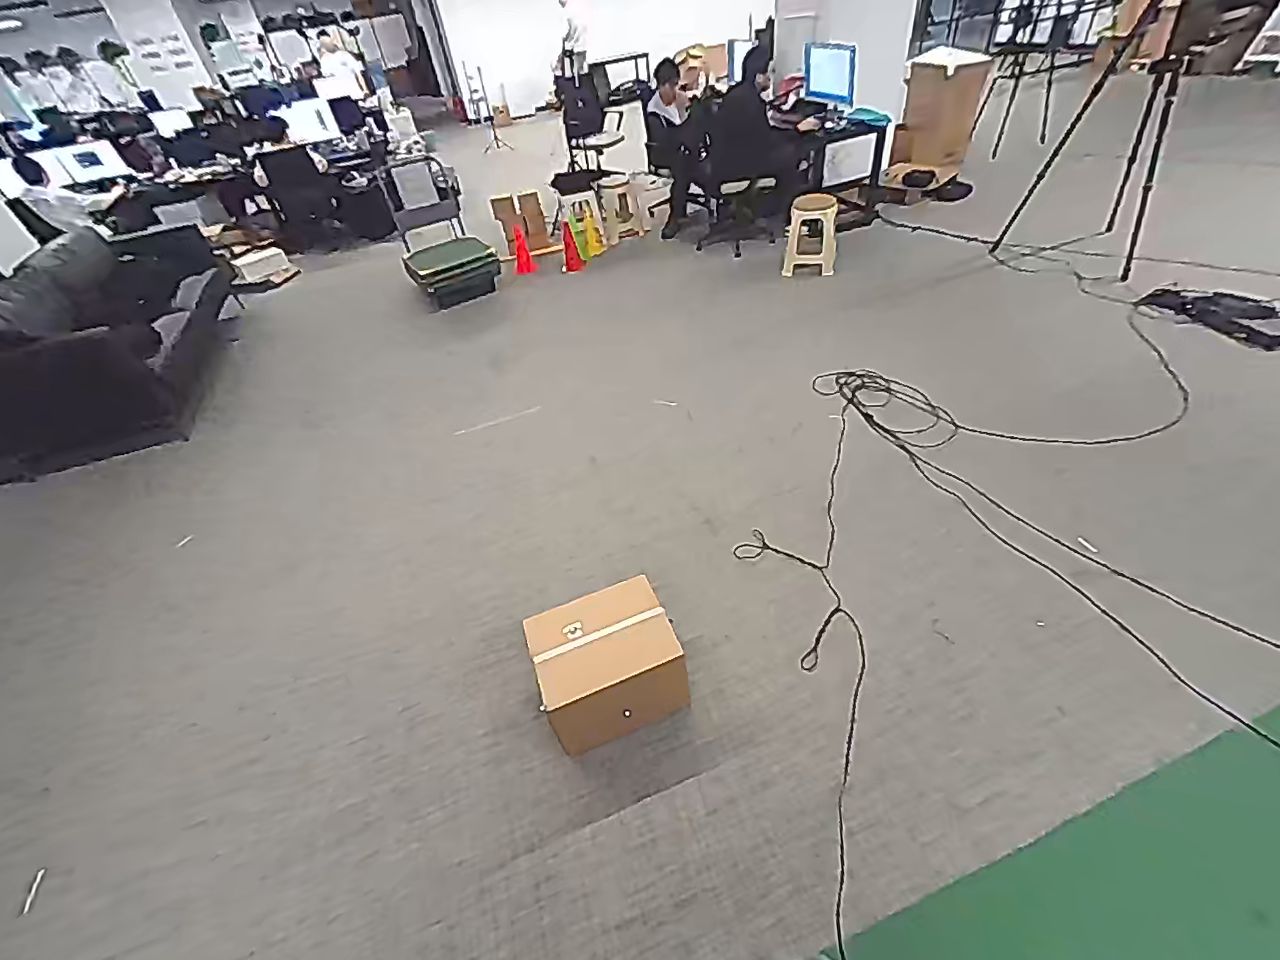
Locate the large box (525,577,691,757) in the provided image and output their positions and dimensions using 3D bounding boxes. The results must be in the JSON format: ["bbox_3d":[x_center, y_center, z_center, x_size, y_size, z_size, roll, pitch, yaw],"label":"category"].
[{"bbox_3d":[-0.092,0.575,1.674,0.408,0.320,0.320,-21,42,-11],"label":"large box"}]
